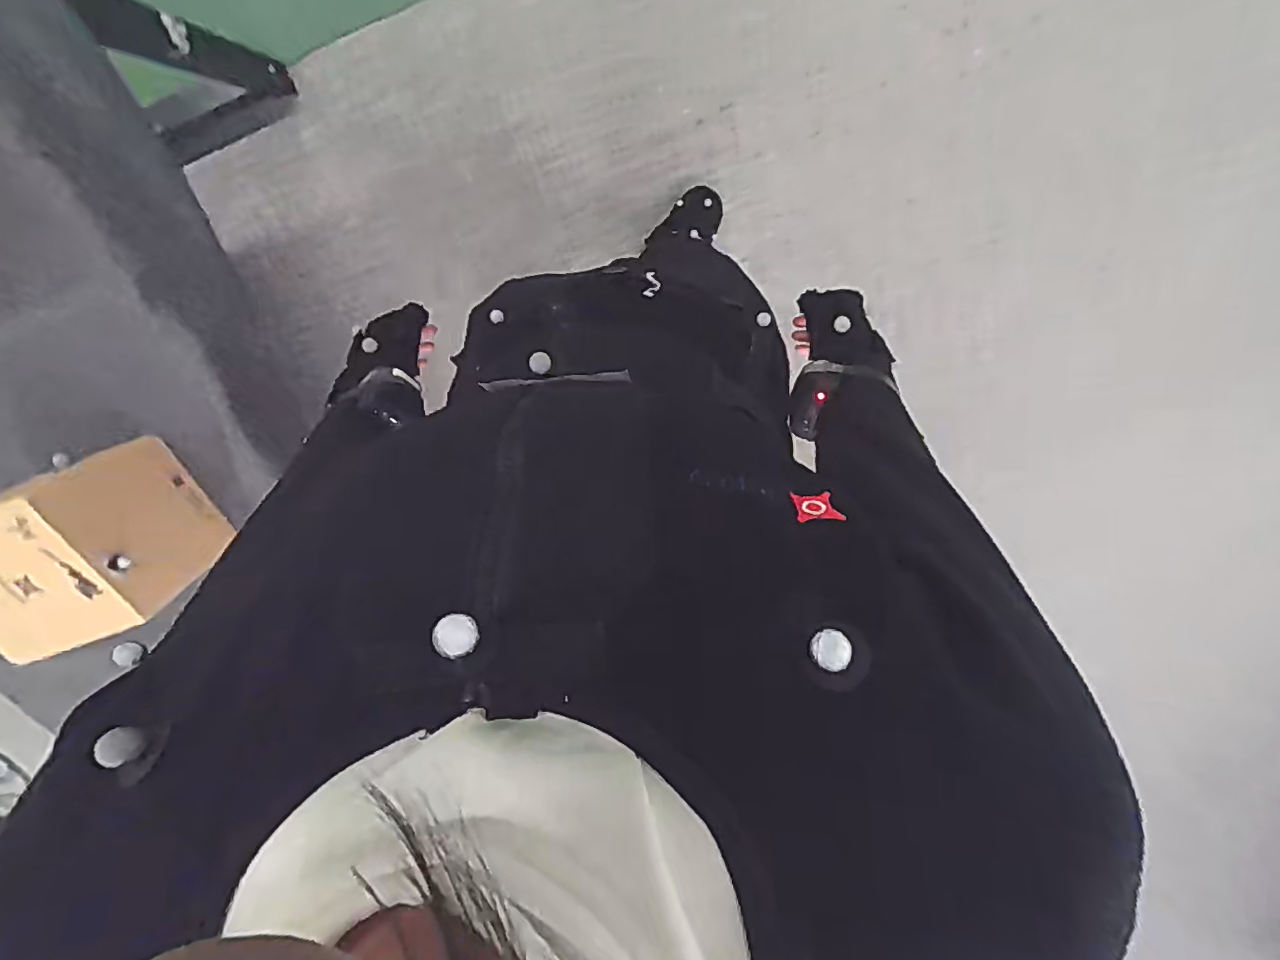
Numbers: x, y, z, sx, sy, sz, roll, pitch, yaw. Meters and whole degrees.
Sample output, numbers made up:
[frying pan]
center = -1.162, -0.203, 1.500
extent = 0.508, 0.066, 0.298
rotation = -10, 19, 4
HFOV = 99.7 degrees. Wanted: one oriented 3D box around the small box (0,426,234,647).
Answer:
[small box]
center = -0.641, 0.059, 0.631
extent = 0.179, 0.176, 0.168
rotation = -18, 117, 8
